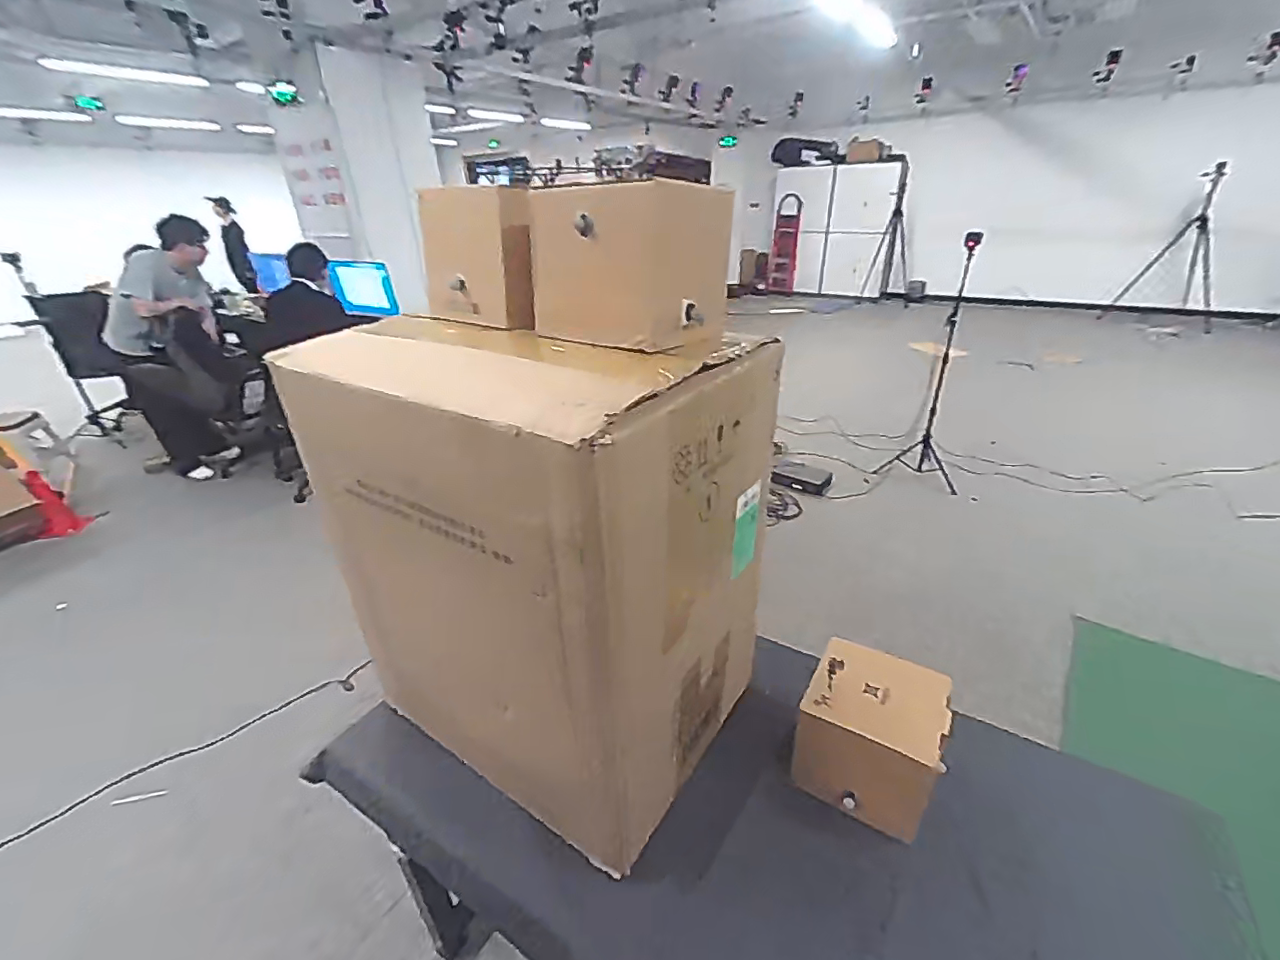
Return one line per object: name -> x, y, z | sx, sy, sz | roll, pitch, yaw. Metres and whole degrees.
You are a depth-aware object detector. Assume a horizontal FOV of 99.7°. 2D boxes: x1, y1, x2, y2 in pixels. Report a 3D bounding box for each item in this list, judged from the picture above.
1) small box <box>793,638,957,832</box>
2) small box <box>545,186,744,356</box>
small box -> 0.345, 0.378, 0.806 | 0.179, 0.176, 0.168 | 16, 32, 30
small box -> 0.005, -0.250, 0.654 | 0.179, 0.176, 0.168 | 18, 29, 31
